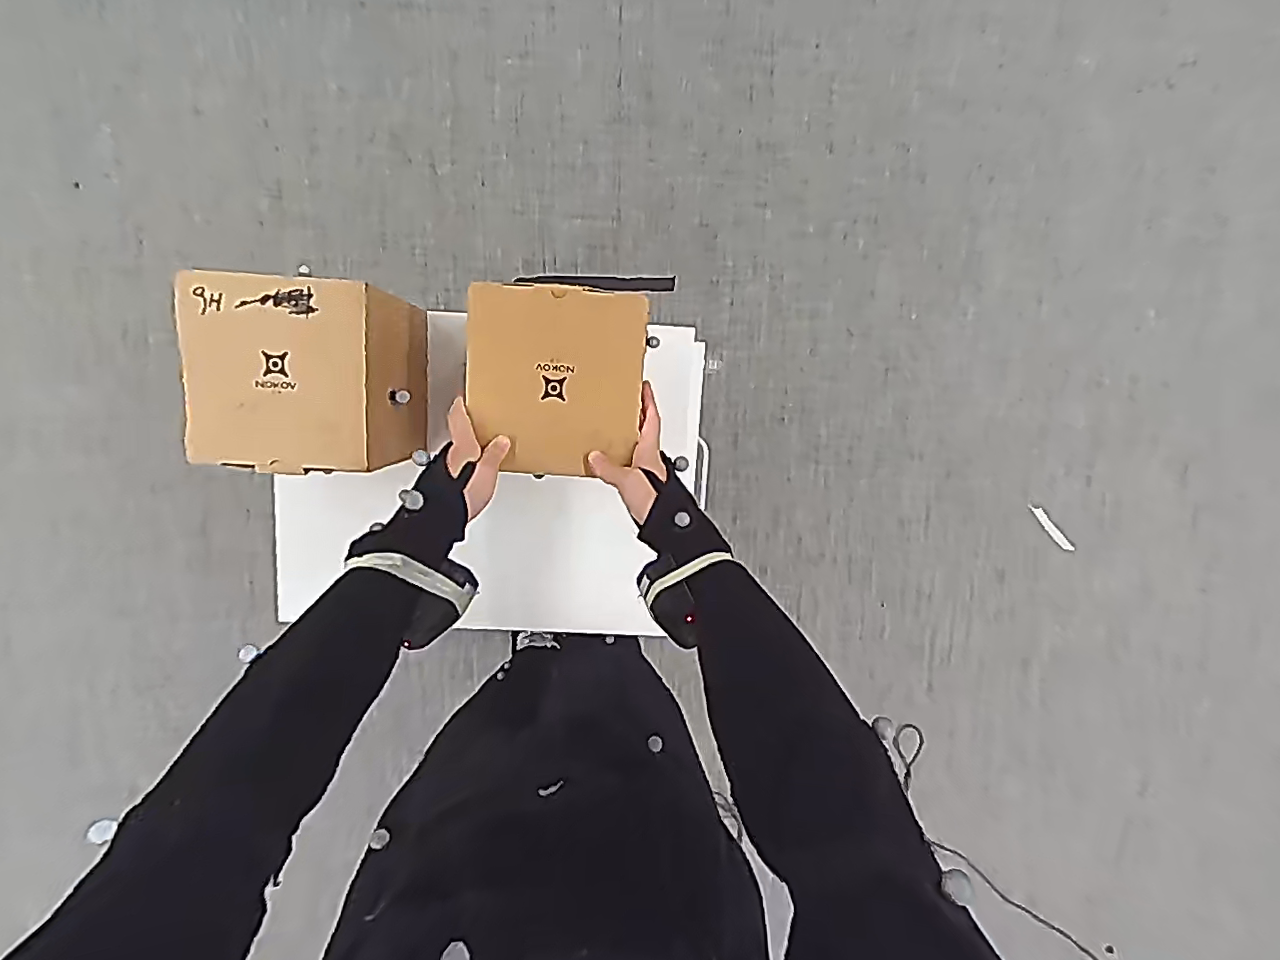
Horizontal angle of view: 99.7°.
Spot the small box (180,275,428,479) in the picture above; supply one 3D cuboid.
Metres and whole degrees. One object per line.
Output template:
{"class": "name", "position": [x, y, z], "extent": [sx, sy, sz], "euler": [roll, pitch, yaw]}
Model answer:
{"class": "small box", "position": [-0.333, -0.104, 0.573], "extent": [0.168, 0.176, 0.179], "euler": [3, 99, -4]}

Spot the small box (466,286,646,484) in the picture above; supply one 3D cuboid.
{"class": "small box", "position": [-0.082, -0.099, 0.587], "extent": [0.168, 0.176, 0.179], "euler": [3, 98, -2]}
